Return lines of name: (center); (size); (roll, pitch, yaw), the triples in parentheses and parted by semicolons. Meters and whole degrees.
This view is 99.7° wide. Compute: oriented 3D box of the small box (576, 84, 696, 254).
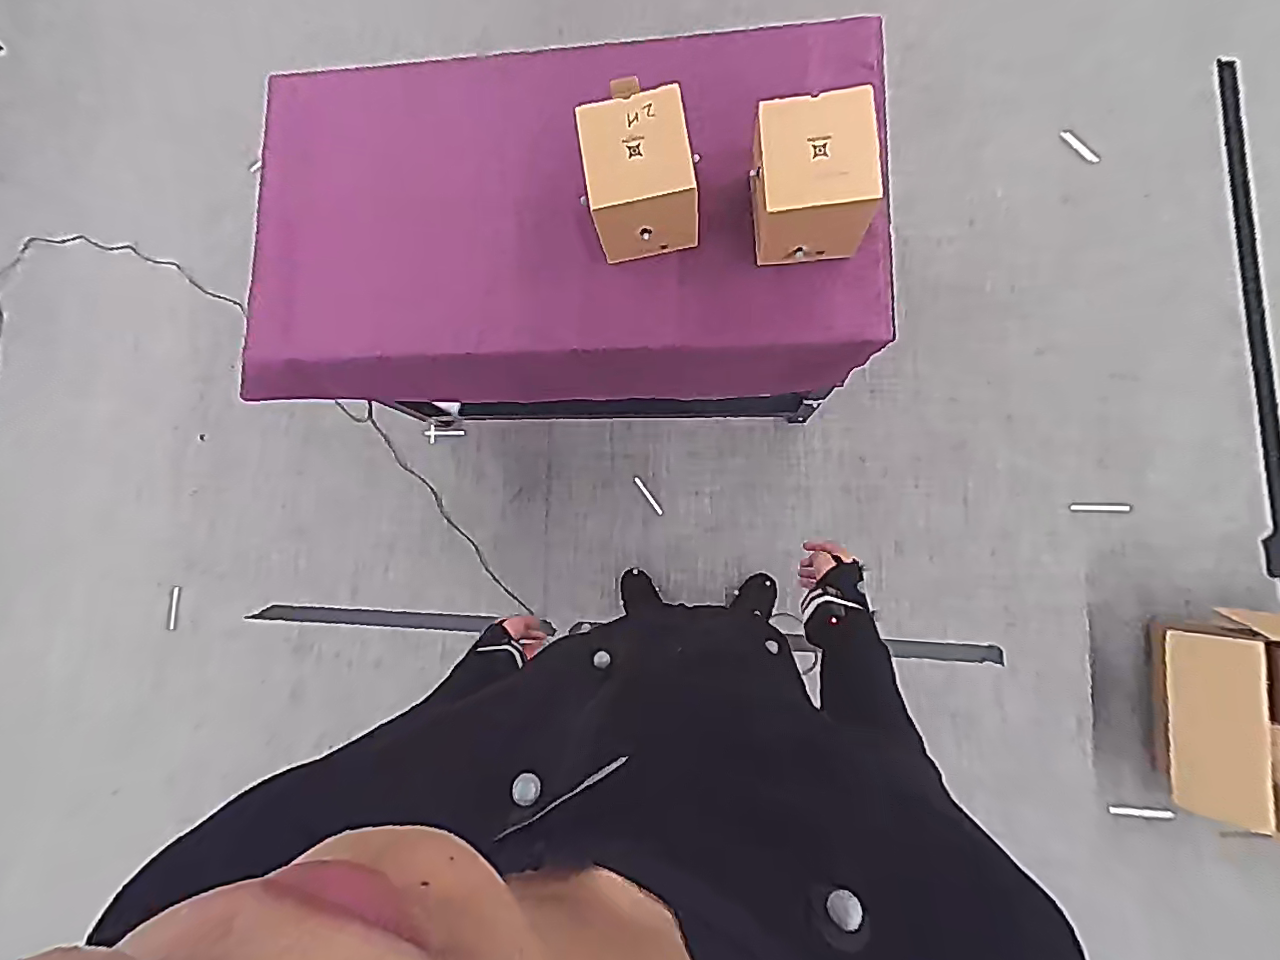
small box: (0.001, -0.502, 0.904); (0.168, 0.176, 0.179); (-9, 83, 5)

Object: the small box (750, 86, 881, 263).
small box: (0.270, -0.479, 0.870); (0.168, 0.176, 0.179); (-3, 83, 7)
